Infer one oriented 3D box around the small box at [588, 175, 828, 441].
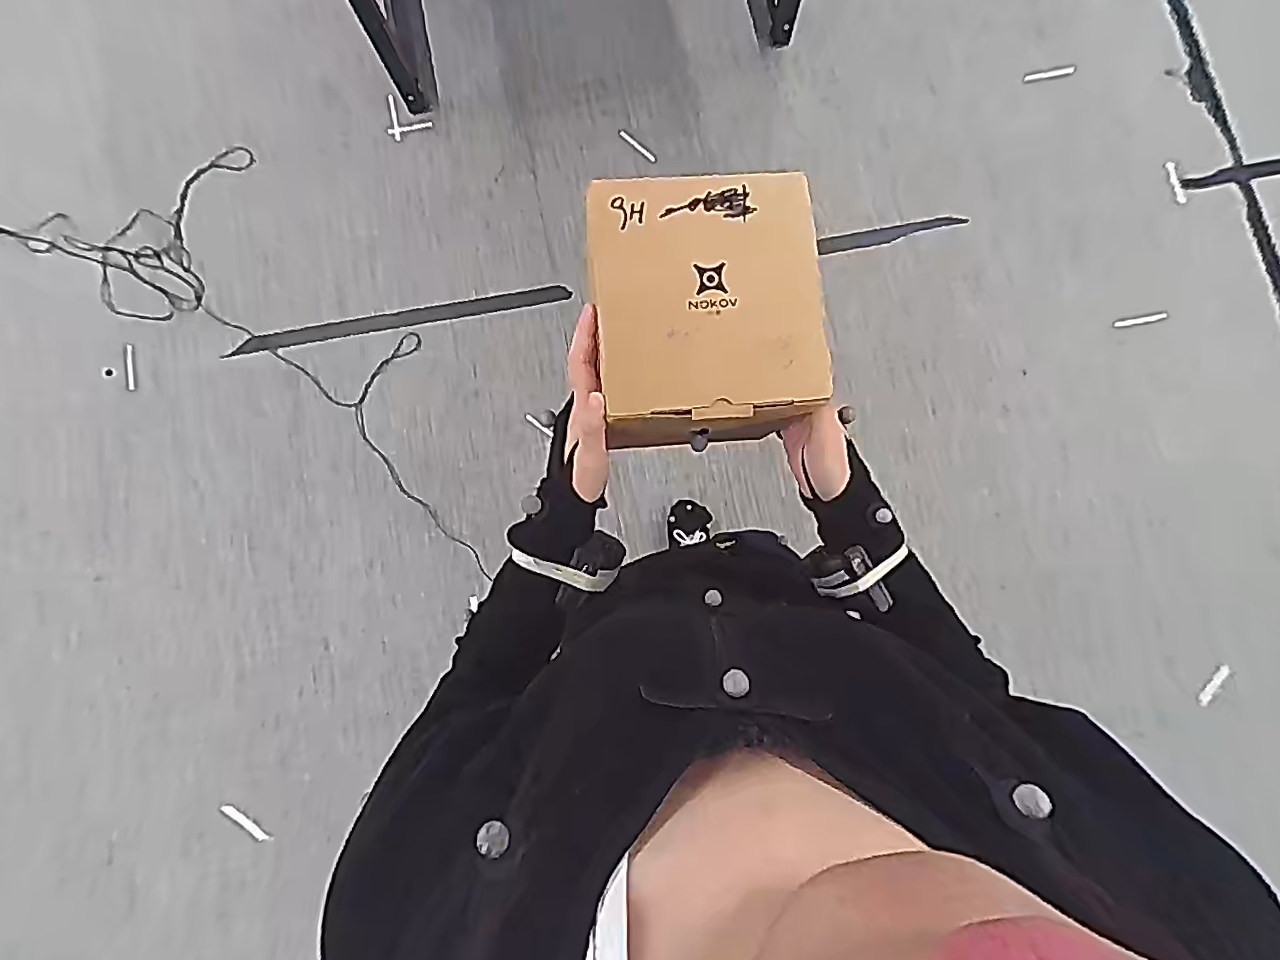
[{"bbox_3d":[0.045,-0.130,0.472,0.168,0.176,0.179,-5,86,-5],"label":"small box"}]
